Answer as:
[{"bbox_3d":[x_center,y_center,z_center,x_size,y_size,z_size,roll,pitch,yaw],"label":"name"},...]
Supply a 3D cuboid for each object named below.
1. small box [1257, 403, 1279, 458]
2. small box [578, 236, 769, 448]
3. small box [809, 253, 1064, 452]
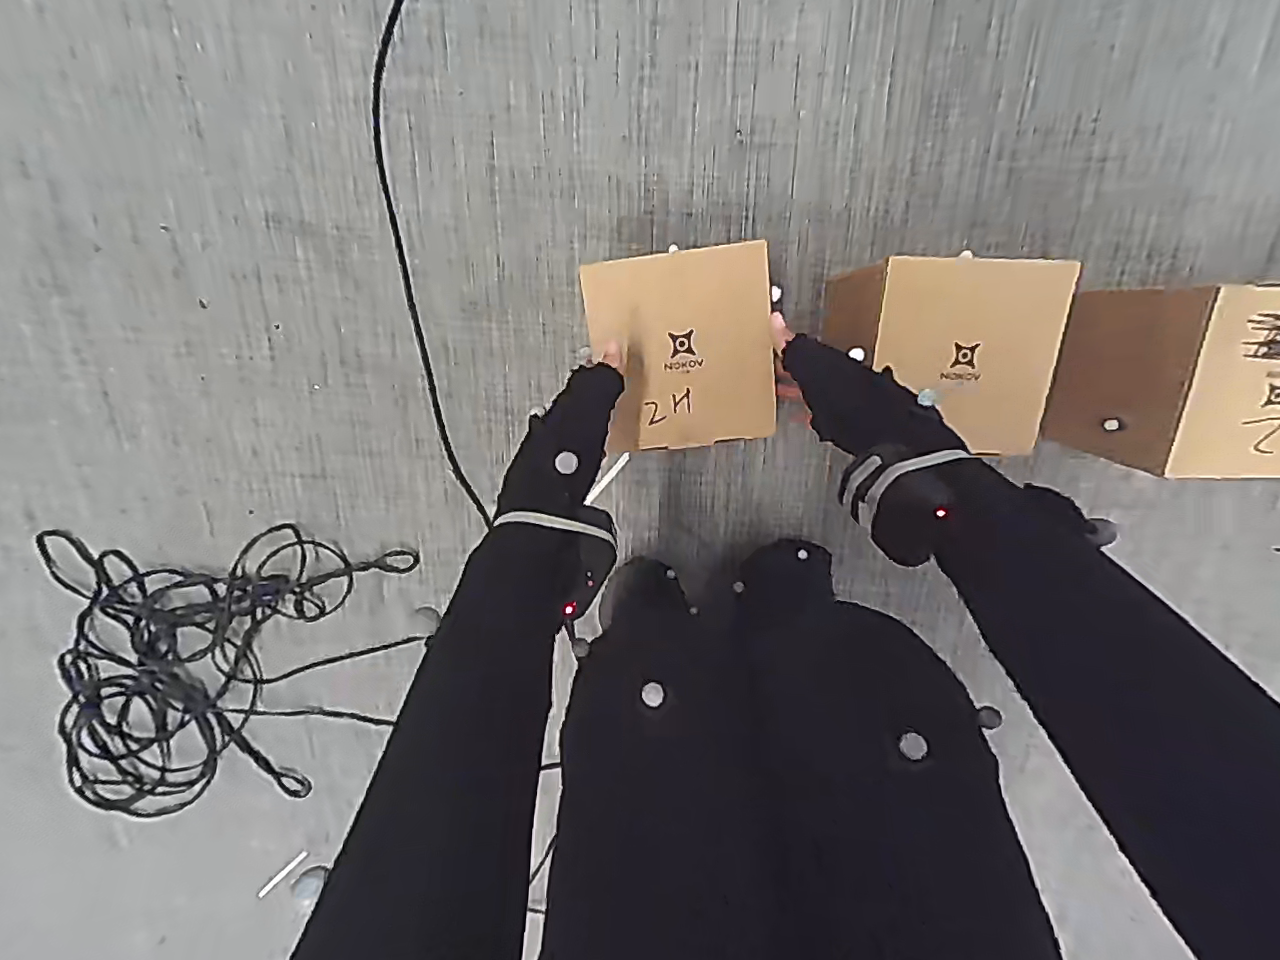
[{"bbox_3d":[0.854,-0.069,0.576,0.179,0.176,0.168,15,107,-5],"label":"small box"},{"bbox_3d":[0.036,-0.143,0.571,0.168,0.176,0.179,-6,107,4],"label":"small box"},{"bbox_3d":[0.288,-0.134,0.570,0.168,0.176,0.179,2,107,1],"label":"small box"}]
